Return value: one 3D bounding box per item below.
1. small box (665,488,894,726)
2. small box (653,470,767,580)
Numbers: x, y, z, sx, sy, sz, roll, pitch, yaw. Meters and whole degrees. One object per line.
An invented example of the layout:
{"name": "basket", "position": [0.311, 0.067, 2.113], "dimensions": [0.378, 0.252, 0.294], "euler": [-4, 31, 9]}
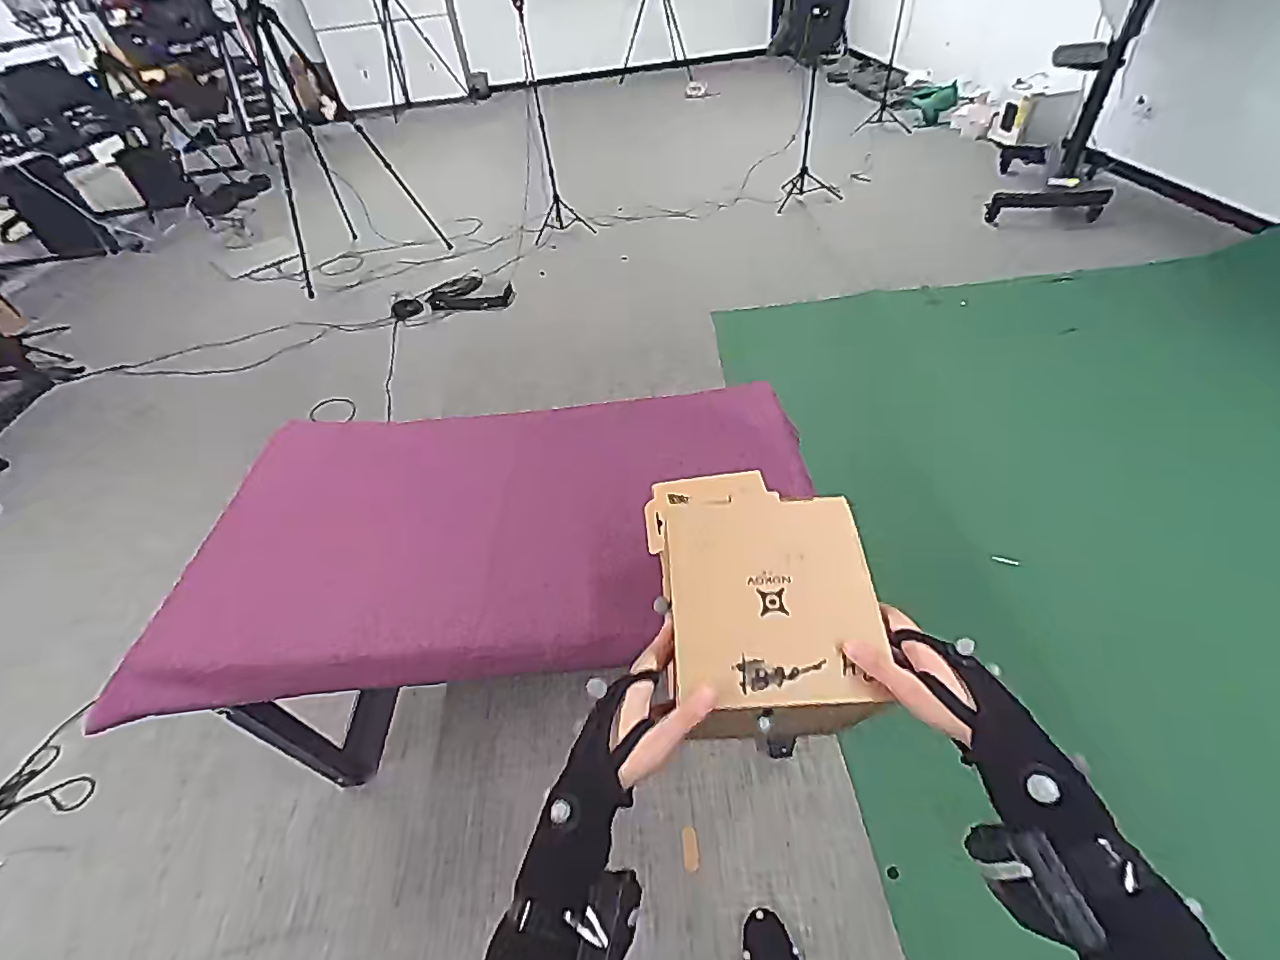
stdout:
{"name": "small box", "position": [0.109, 0.125, 0.514], "dimensions": [0.168, 0.176, 0.179], "euler": [-2, 58, 1]}
{"name": "small box", "position": [0.121, 0.108, 0.863], "dimensions": [0.179, 0.176, 0.168], "euler": [-7, 46, 1]}
